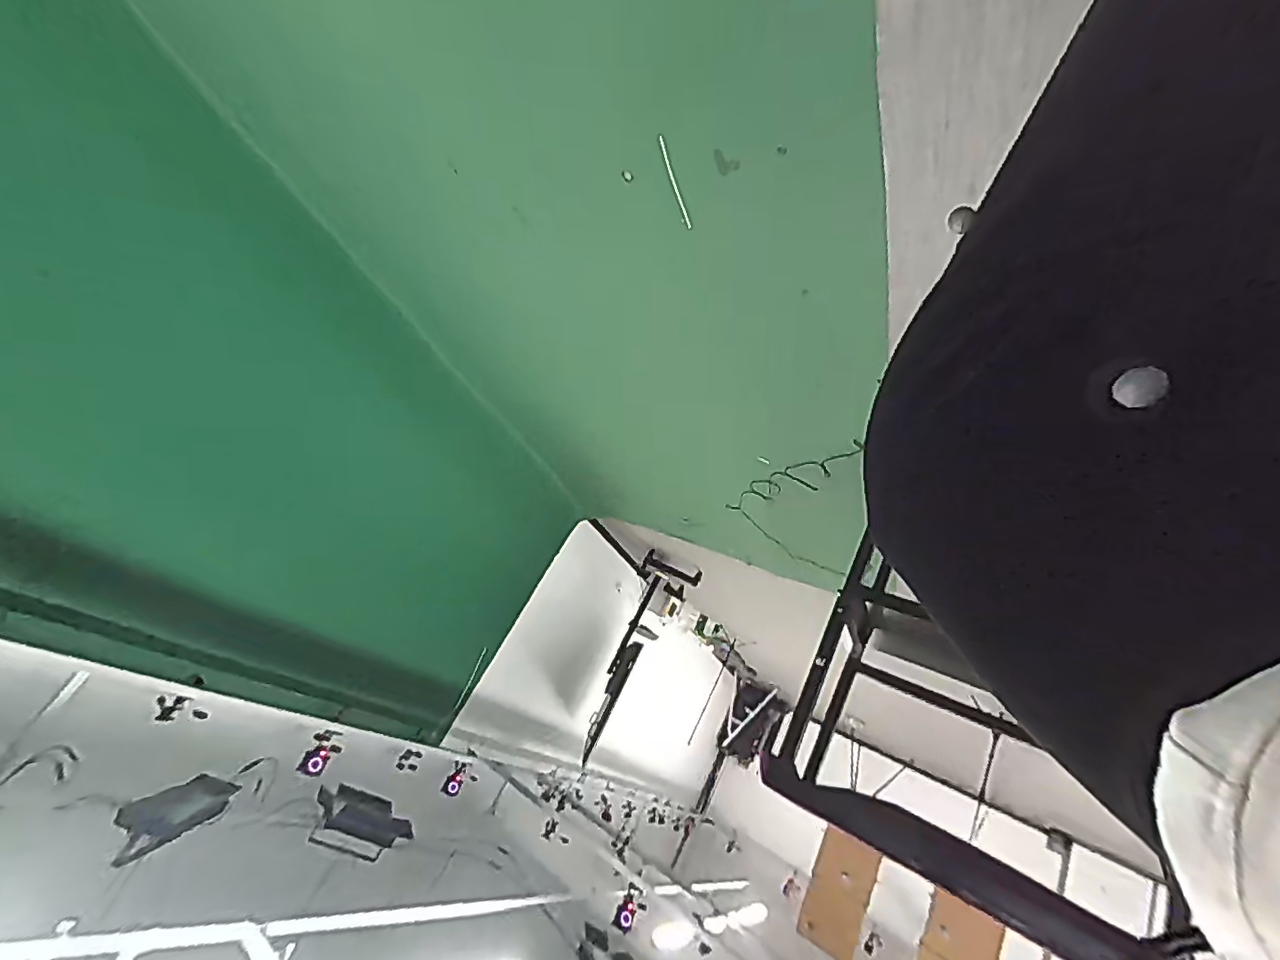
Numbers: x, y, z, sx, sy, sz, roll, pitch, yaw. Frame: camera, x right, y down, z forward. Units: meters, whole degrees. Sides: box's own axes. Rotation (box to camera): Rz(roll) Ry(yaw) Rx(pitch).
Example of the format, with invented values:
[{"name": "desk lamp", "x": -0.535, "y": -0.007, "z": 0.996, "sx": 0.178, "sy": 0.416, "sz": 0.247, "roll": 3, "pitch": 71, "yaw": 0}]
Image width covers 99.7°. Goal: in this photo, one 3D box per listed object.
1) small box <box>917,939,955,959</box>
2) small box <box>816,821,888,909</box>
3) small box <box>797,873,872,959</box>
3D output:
[{"name": "small box", "x": 0.864, "y": 1.441, "z": 1.509, "sx": 0.179, "sy": 0.176, "sz": 0.168, "roll": 16, "pitch": 156, "yaw": 33}, {"name": "small box", "x": 0.688, "y": 1.235, "z": 1.746, "sx": 0.179, "sy": 0.176, "sz": 0.168, "roll": 17, "pitch": 154, "yaw": 33}, {"name": "small box", "x": 0.612, "y": 1.366, "z": 1.688, "sx": 0.179, "sy": 0.176, "sz": 0.168, "roll": 17, "pitch": 154, "yaw": 32}]
